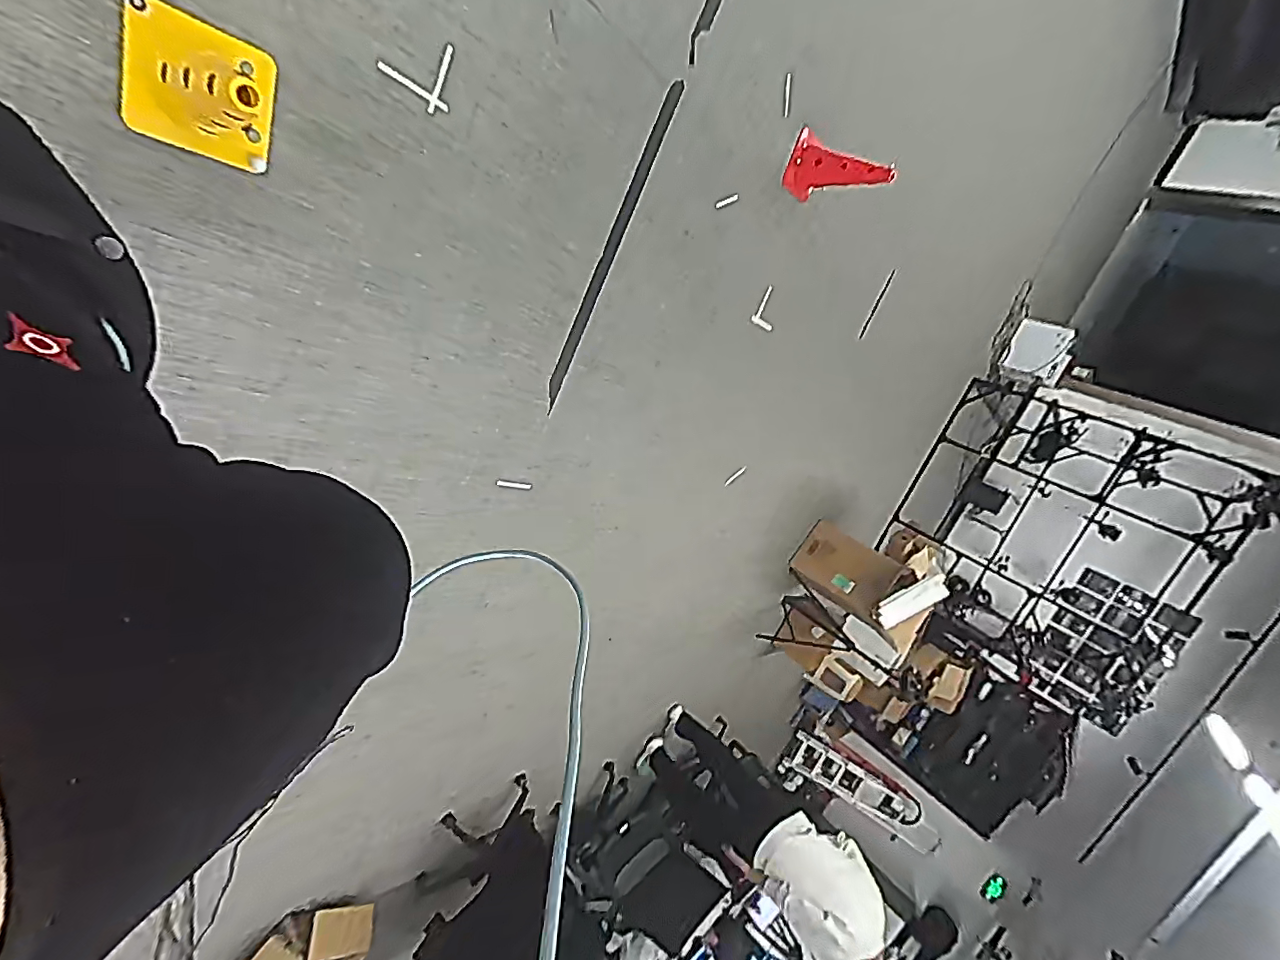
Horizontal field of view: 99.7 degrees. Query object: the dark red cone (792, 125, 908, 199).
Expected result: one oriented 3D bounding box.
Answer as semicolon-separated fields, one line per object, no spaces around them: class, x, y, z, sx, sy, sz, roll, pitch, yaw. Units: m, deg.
dark red cone;0.751;-1.099;1.904;0.201;0.394;0.202;0;117;-46
